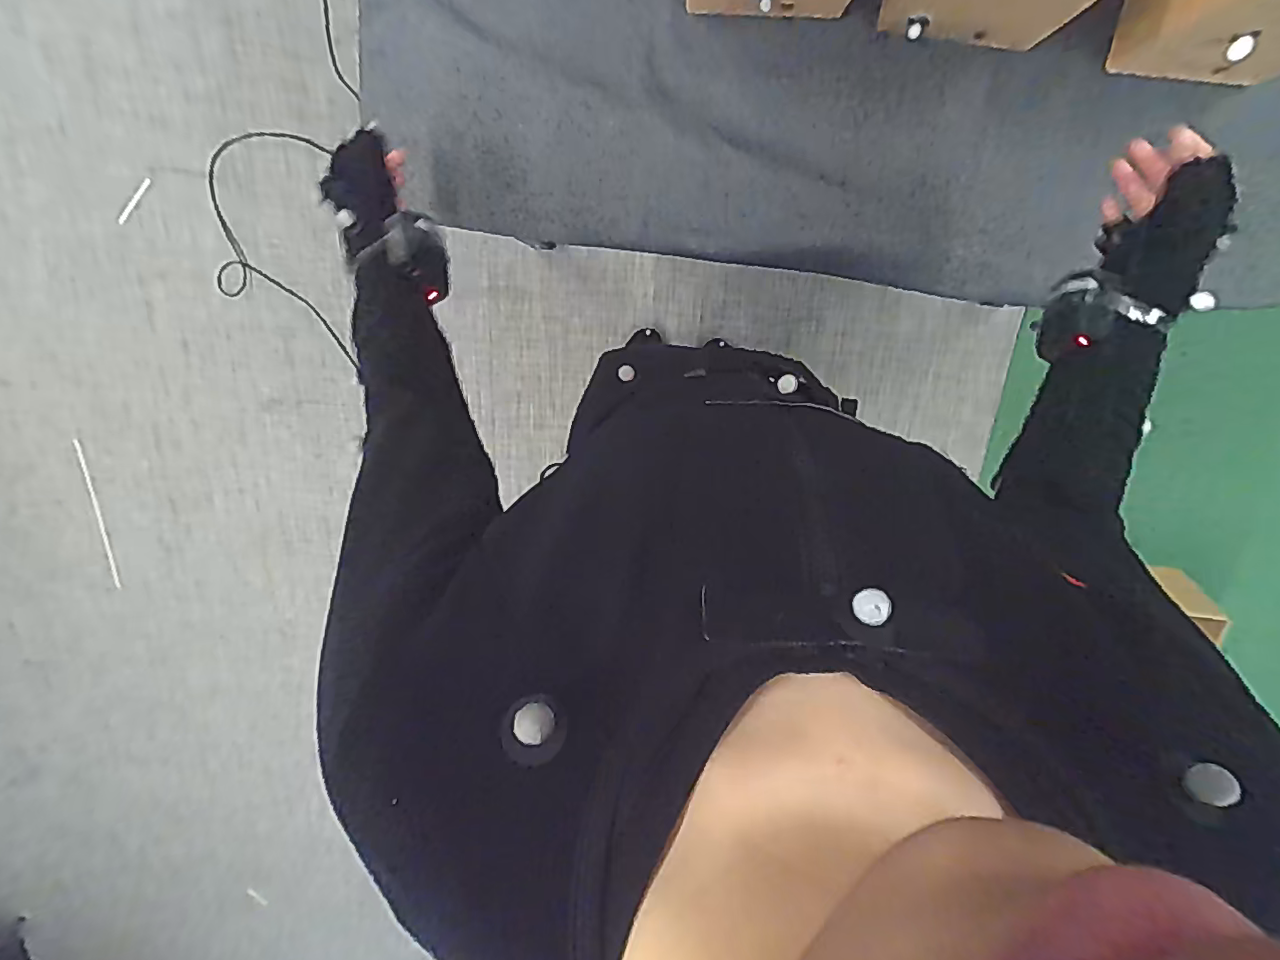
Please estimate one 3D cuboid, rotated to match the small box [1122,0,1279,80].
[{"bbox_3d":[0.587,-0.486,0.475,0.168,0.176,0.179,6,107,1],"label":"small box"}]
